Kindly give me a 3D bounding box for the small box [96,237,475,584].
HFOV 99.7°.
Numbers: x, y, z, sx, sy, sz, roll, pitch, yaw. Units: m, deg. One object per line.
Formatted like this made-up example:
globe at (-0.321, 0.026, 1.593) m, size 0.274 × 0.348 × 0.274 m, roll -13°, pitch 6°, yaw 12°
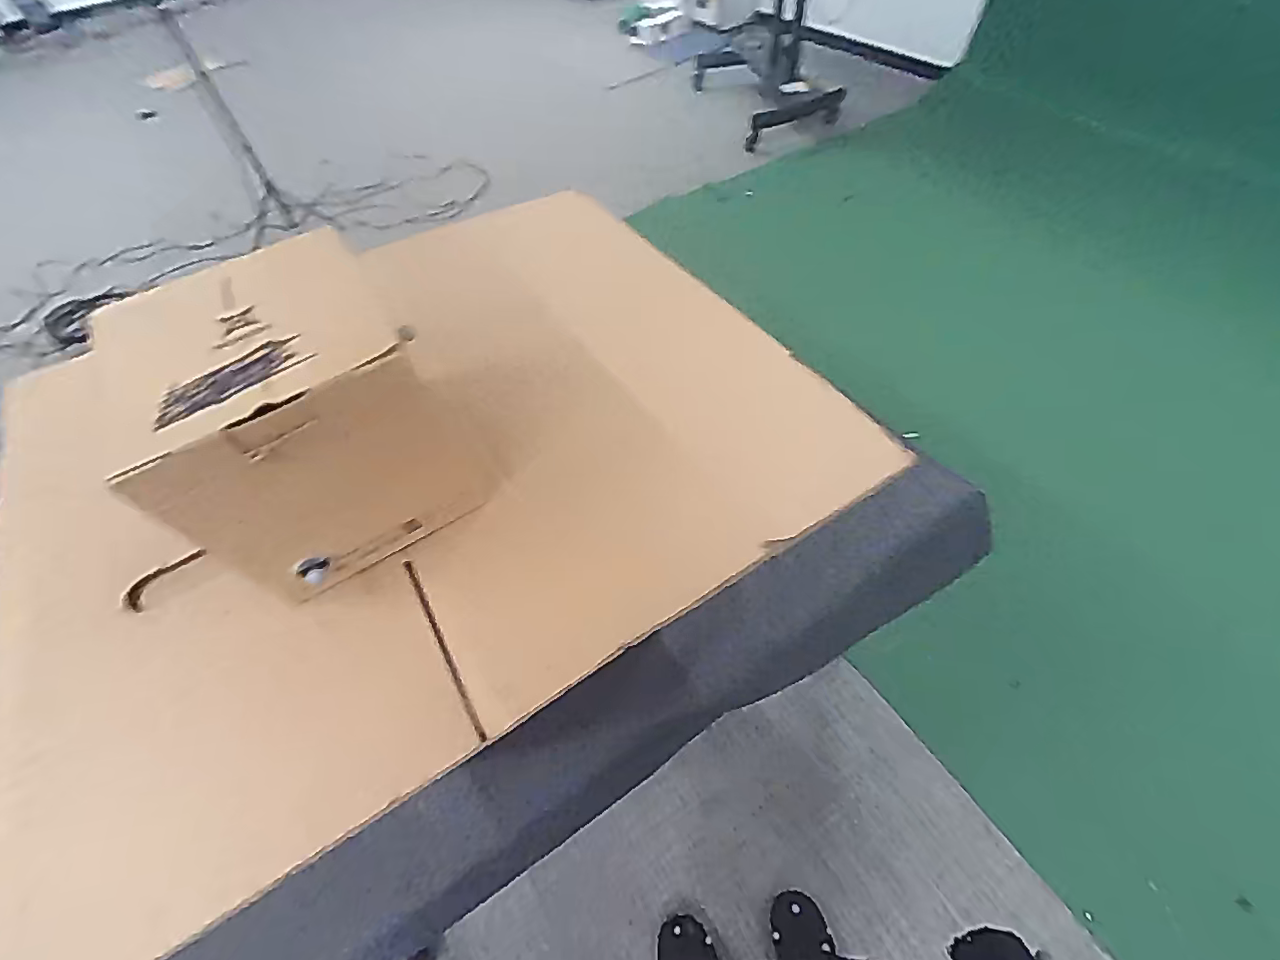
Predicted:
small box at (-0.251, -0.043, 0.412) m, size 0.168 × 0.176 × 0.179 m, roll -30°, pitch 57°, yaw -15°
